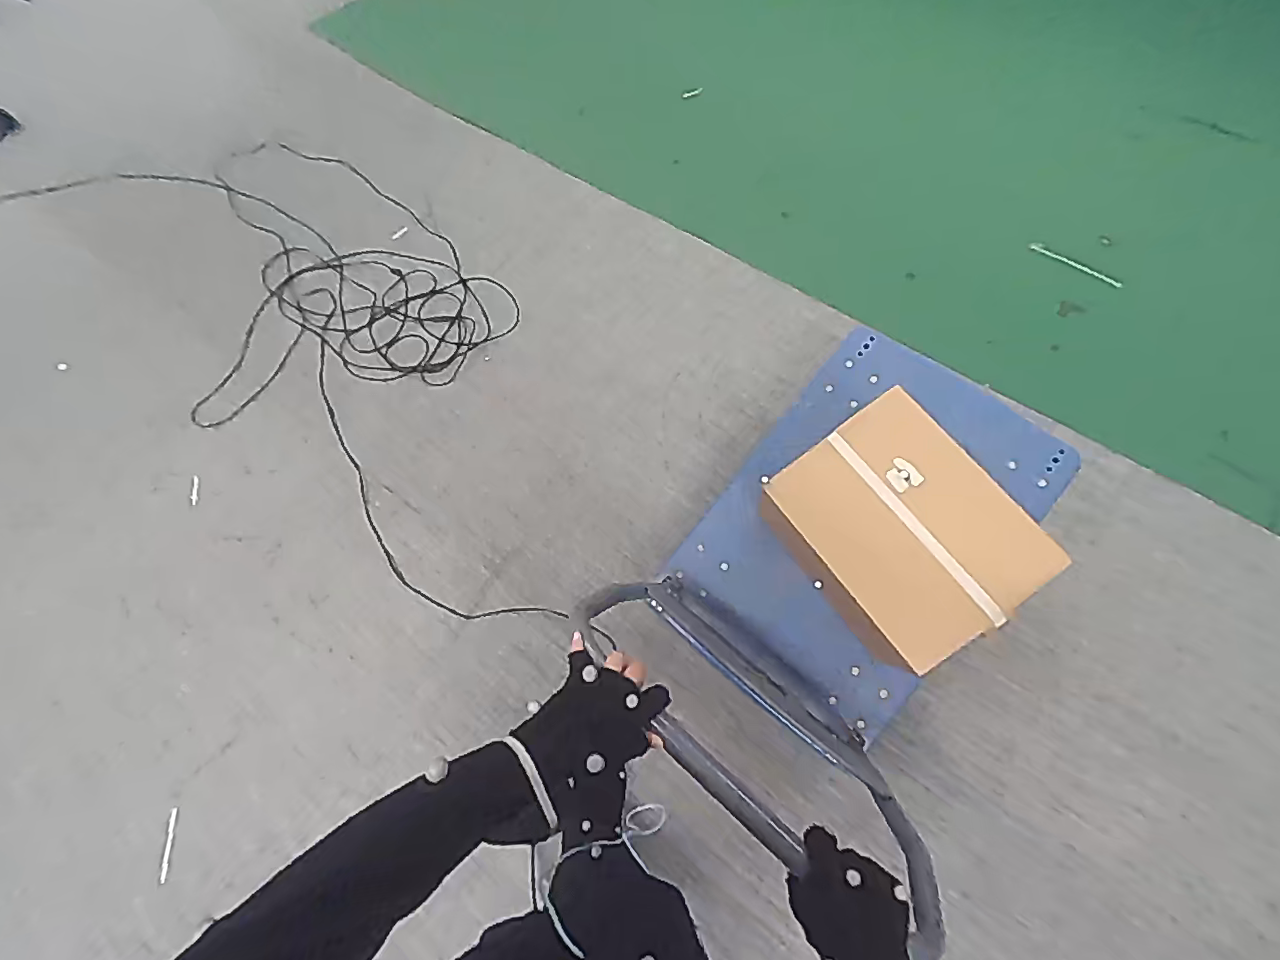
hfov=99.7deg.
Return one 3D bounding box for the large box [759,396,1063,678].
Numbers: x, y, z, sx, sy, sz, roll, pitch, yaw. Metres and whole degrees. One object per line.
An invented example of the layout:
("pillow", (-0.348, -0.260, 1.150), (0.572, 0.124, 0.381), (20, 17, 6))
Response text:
("large box", (0.482, 0.119, 1.073), (0.320, 0.320, 0.408), (-36, 72, 0))
